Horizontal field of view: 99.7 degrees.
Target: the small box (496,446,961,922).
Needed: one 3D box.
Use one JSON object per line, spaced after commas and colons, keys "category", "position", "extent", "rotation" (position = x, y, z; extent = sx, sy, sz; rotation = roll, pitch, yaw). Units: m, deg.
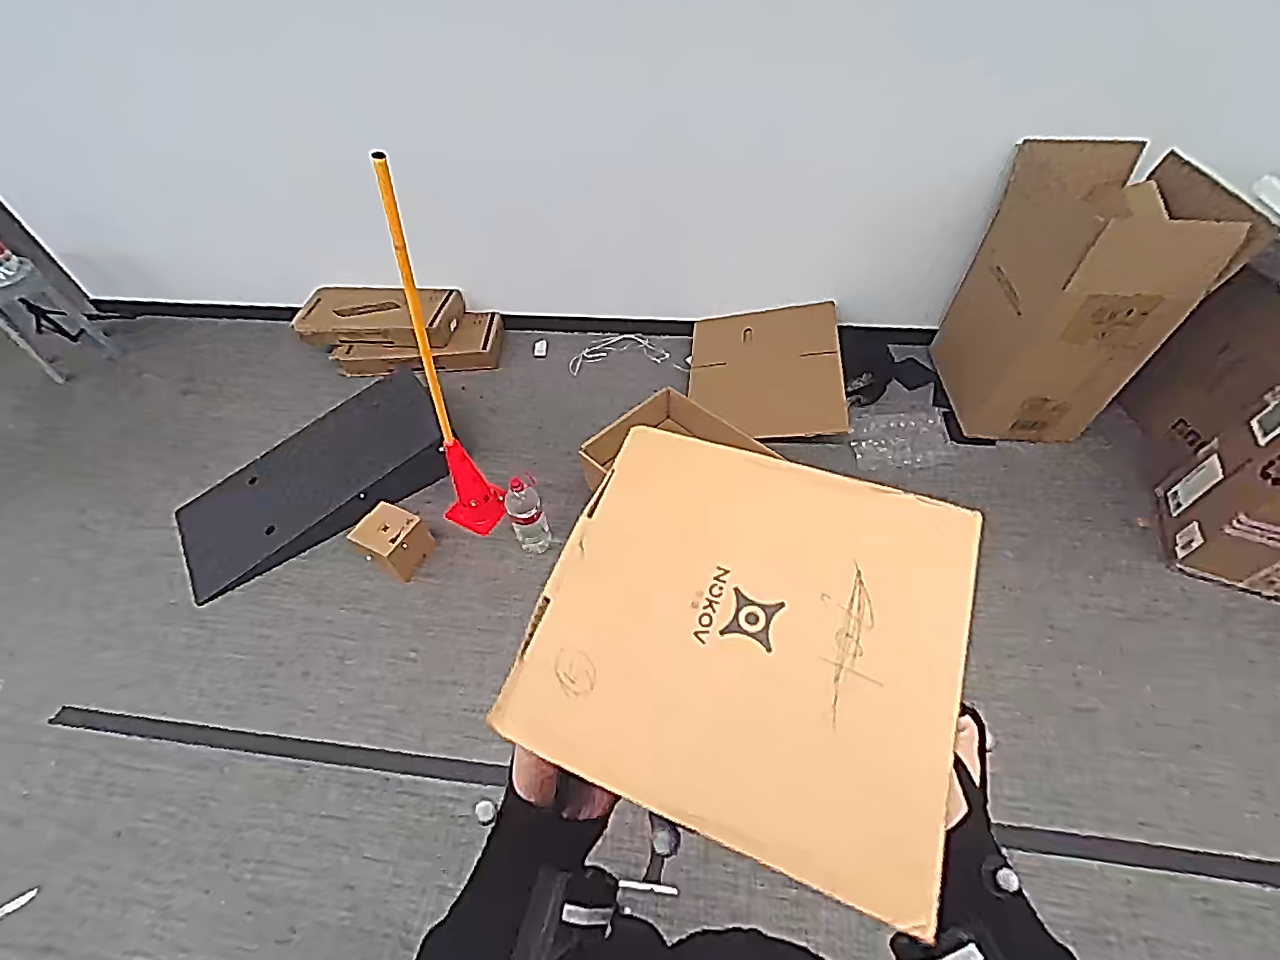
{"category": "small box", "position": [0.054, 0.109, 0.314], "extent": [0.179, 0.176, 0.168], "rotation": [16, 63, 16]}
